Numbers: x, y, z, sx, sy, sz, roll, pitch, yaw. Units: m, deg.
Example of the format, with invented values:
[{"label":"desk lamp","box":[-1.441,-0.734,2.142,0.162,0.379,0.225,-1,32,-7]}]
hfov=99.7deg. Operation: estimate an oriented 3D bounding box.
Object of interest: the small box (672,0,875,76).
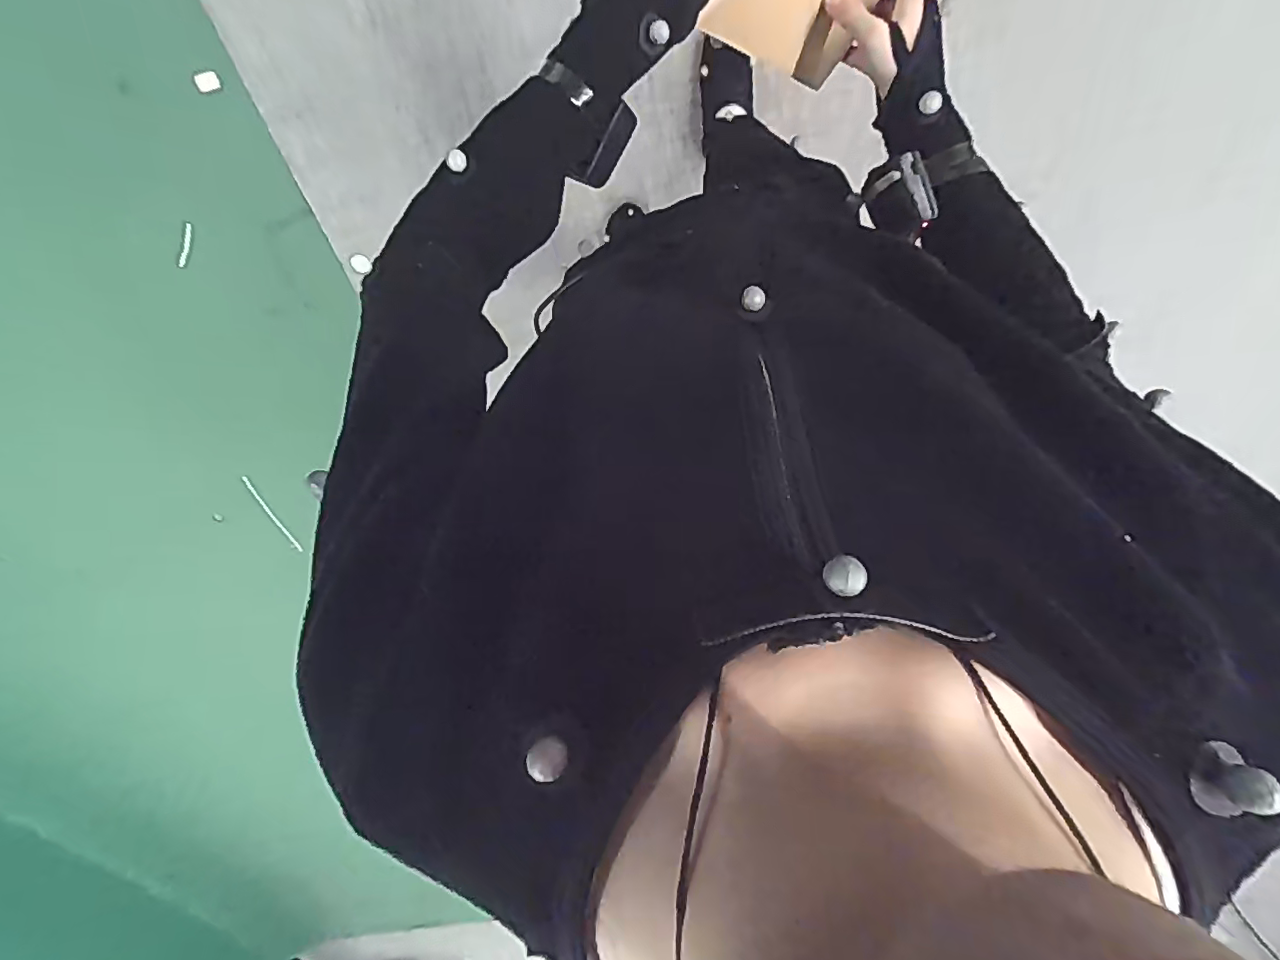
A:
[{"label":"small box","box":[0.109,-0.471,0.414,0.179,0.176,0.168,0,154,-30]}]
